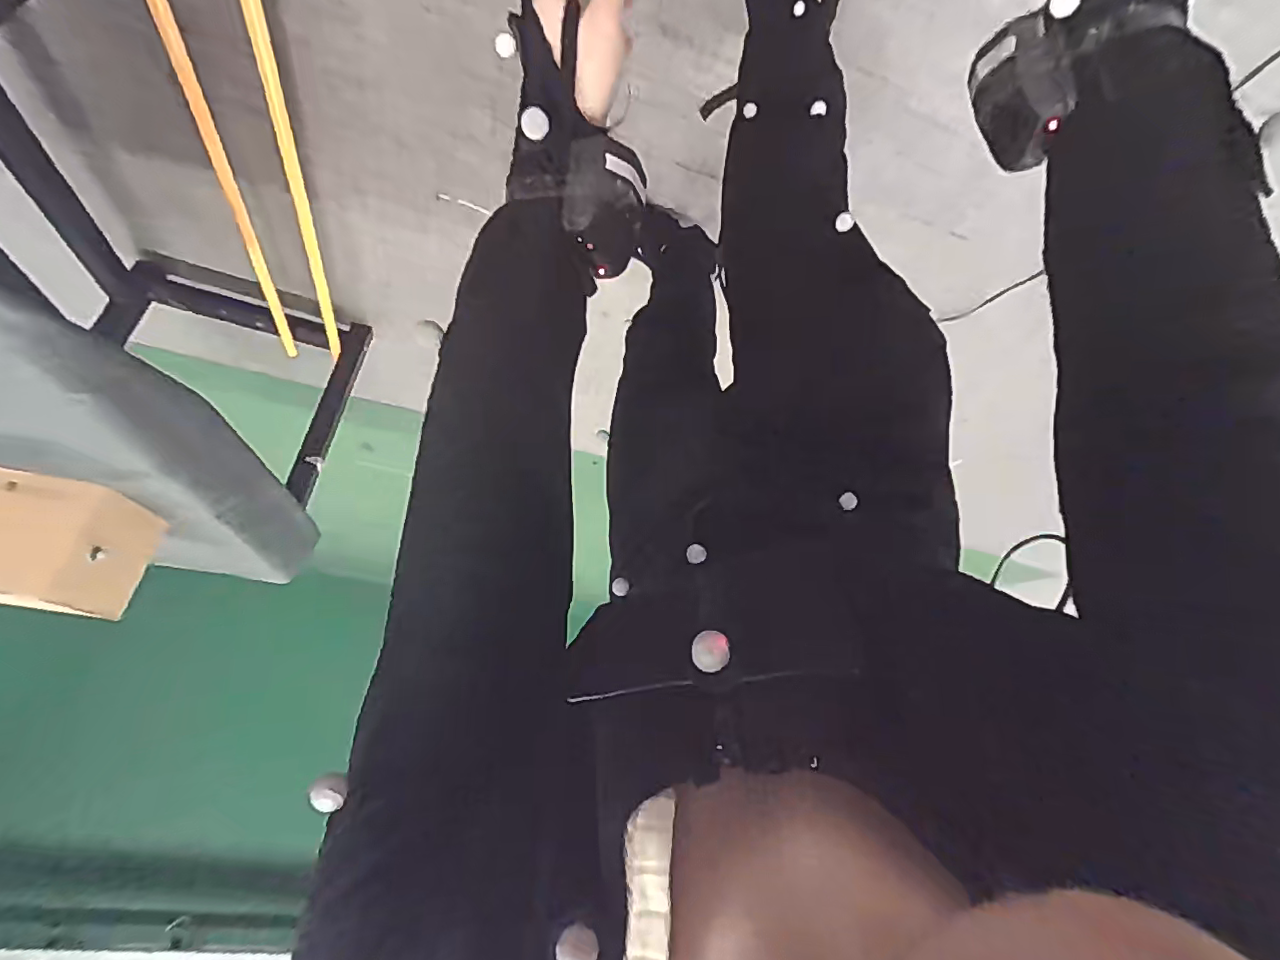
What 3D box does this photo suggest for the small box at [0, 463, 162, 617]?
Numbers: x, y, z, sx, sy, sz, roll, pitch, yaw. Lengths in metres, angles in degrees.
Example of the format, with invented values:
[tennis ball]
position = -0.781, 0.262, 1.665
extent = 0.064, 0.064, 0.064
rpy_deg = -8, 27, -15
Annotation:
[small box]
position = -0.862, 0.090, 0.784
extent = 0.168, 0.176, 0.179
rpy_deg = 14, 155, -11
